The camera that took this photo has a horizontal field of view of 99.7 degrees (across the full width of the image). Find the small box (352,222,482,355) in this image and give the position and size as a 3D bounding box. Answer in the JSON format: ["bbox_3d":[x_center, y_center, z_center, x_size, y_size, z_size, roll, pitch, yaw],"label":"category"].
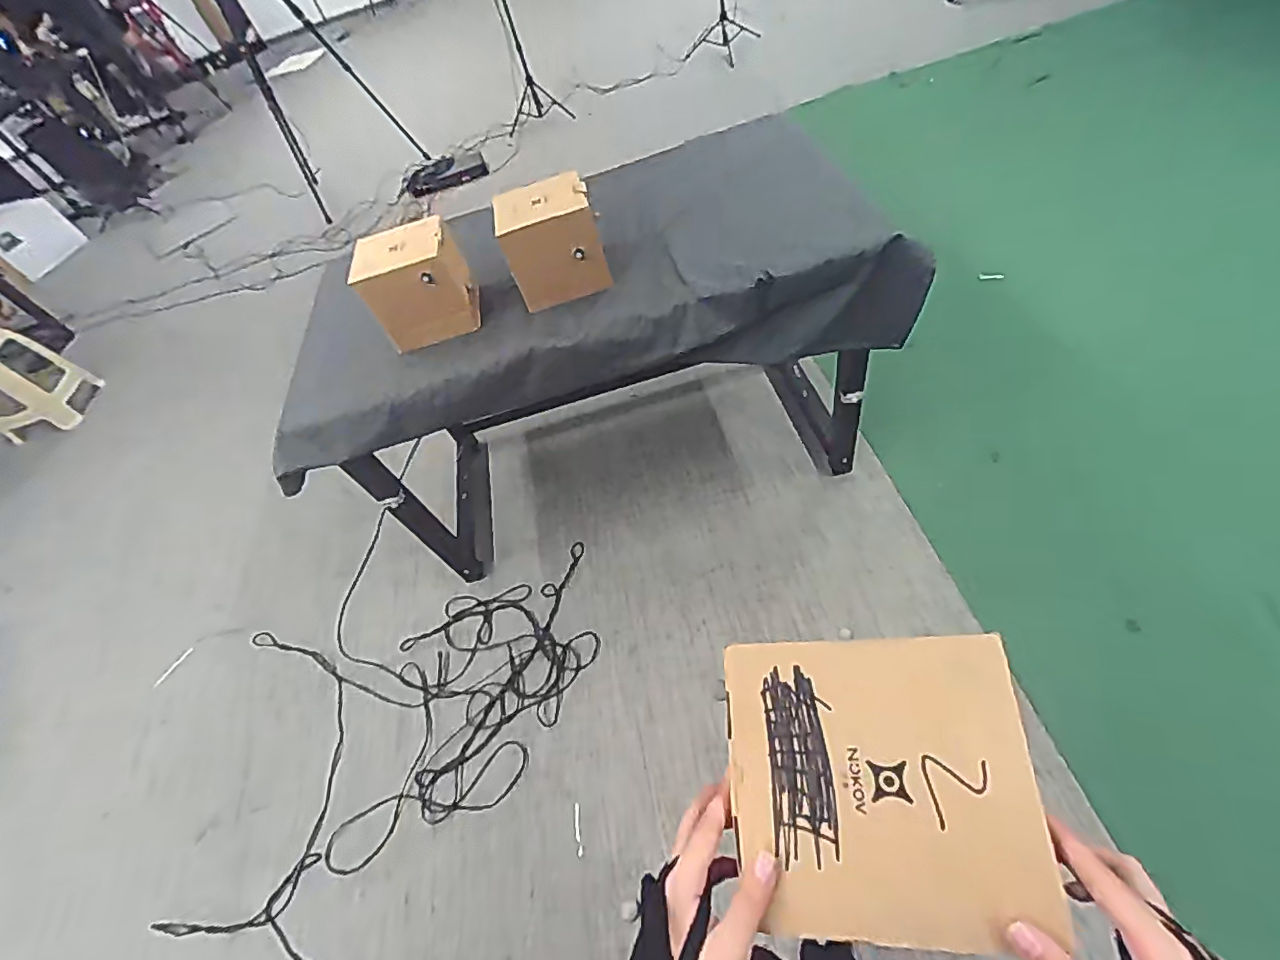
[{"bbox_3d":[-0.435,-0.376,1.080,0.179,0.176,0.168,-17,51,2],"label":"small box"}]

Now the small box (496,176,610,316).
[{"bbox_3d":[-0.166,-0.454,1.062,0.179,0.176,0.168,-18,50,4],"label":"small box"}]
